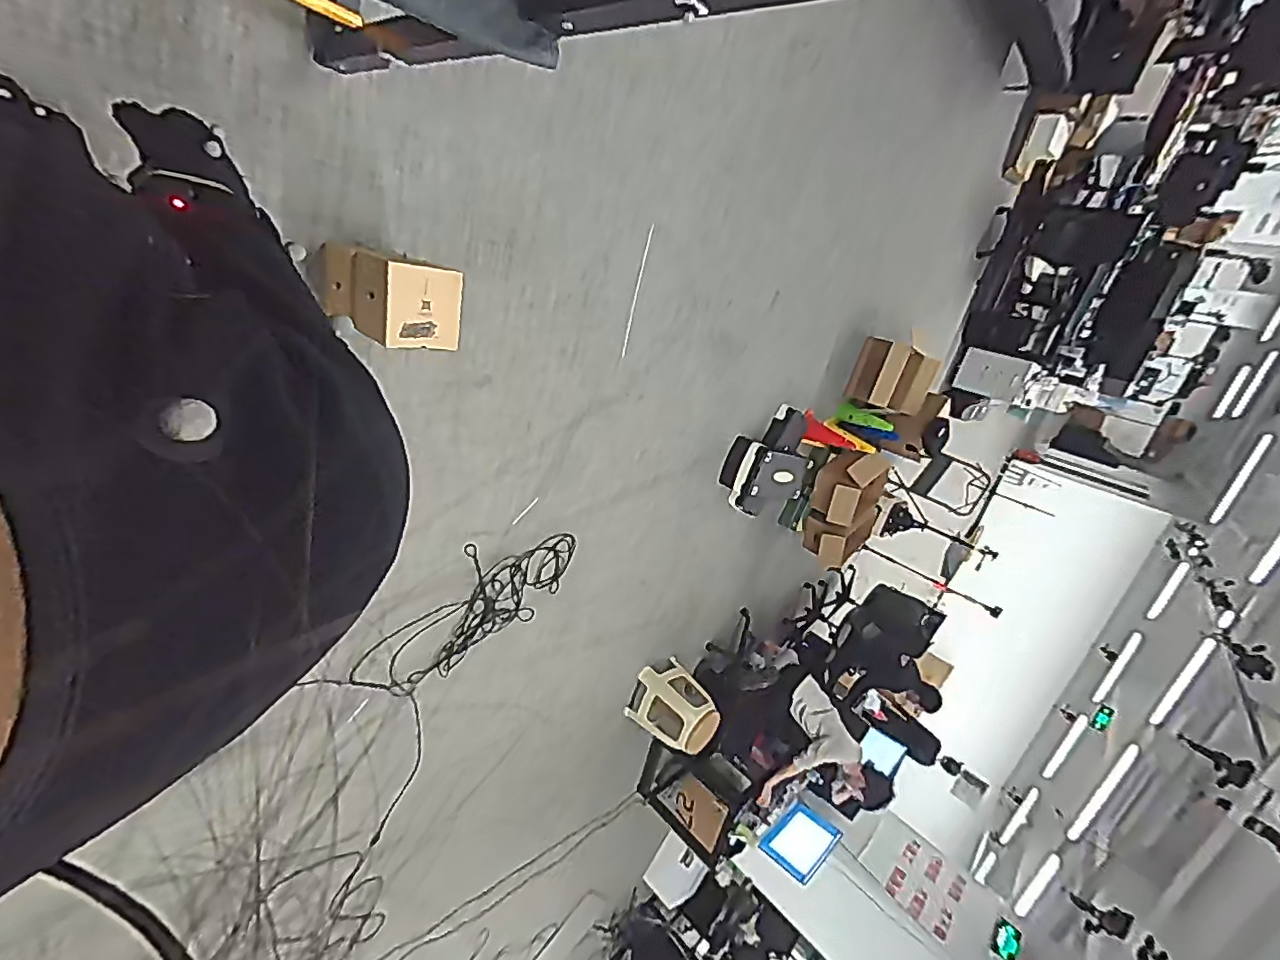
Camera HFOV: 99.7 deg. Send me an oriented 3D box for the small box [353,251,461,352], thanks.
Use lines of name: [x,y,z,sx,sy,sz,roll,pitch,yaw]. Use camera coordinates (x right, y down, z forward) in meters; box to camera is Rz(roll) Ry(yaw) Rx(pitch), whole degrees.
small box: [-0.522,-0.397,1.205,0.168,0.176,0.179,-10,120,-46]
